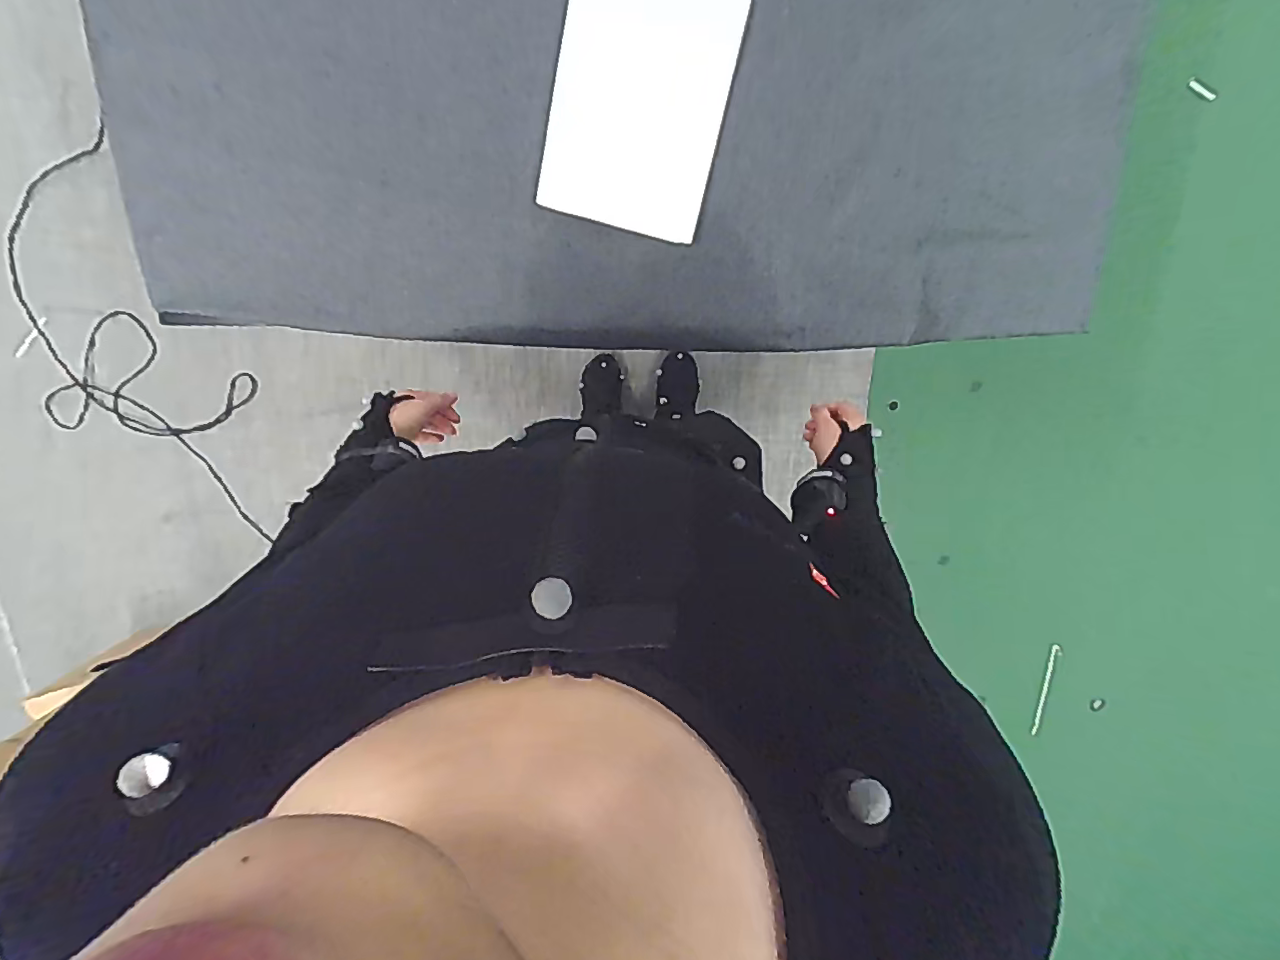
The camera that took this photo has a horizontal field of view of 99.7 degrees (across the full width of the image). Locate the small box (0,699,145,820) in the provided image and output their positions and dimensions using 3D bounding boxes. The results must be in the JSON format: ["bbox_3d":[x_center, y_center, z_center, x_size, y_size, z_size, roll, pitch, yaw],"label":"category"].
[{"bbox_3d":[-1.333,0.651,1.277,0.179,0.176,0.168,21,103,-8],"label":"small box"}]
